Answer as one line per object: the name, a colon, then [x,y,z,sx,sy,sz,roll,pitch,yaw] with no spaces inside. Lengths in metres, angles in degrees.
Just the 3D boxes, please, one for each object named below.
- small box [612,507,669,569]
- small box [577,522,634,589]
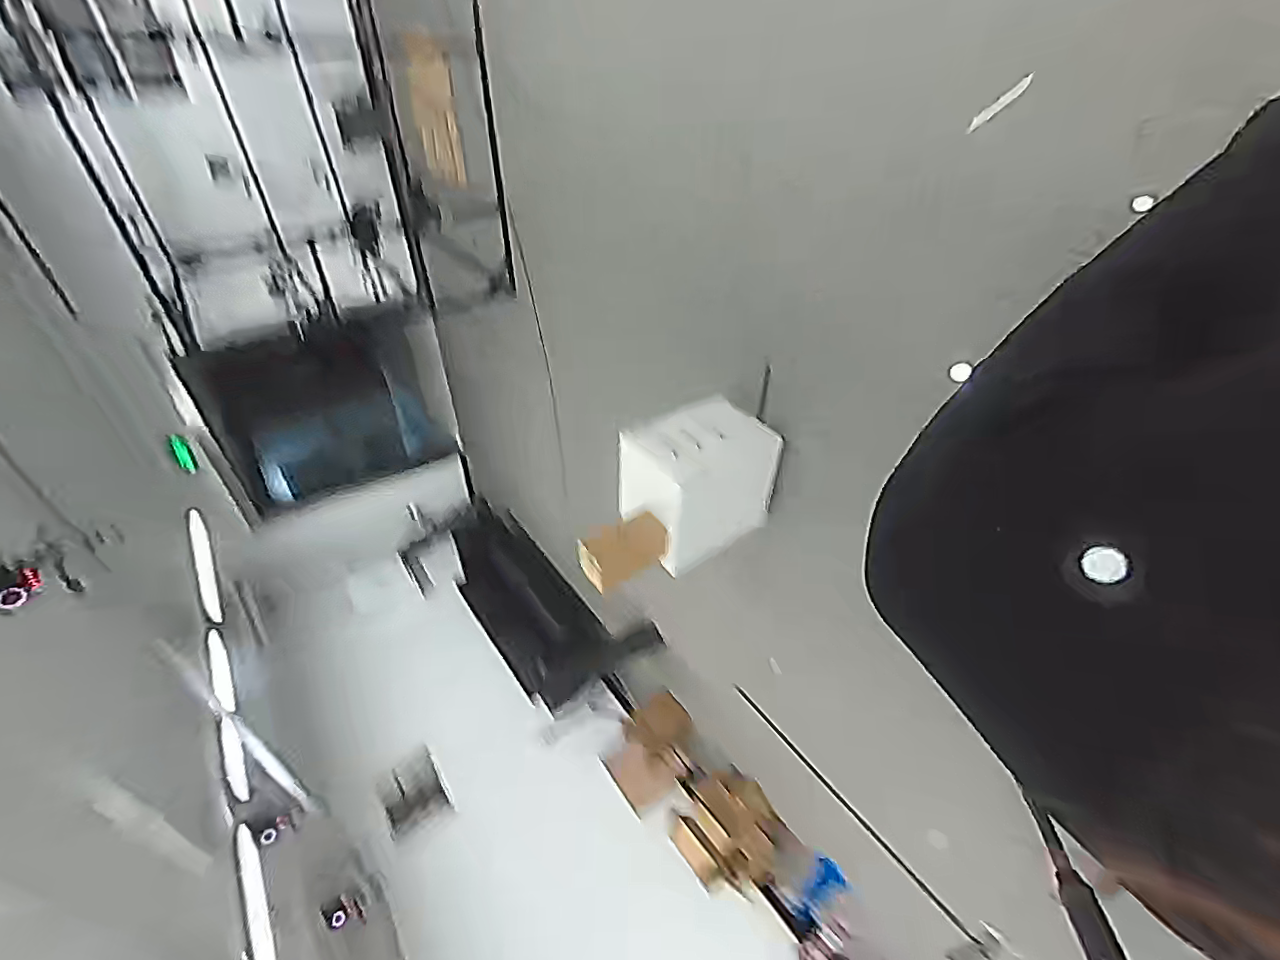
small box: [-0.003,0.234,2.261,0.179,0.176,0.168,44,146,36]
small box: [-0.136,0.299,2.190,0.168,0.176,0.179,42,146,40]
